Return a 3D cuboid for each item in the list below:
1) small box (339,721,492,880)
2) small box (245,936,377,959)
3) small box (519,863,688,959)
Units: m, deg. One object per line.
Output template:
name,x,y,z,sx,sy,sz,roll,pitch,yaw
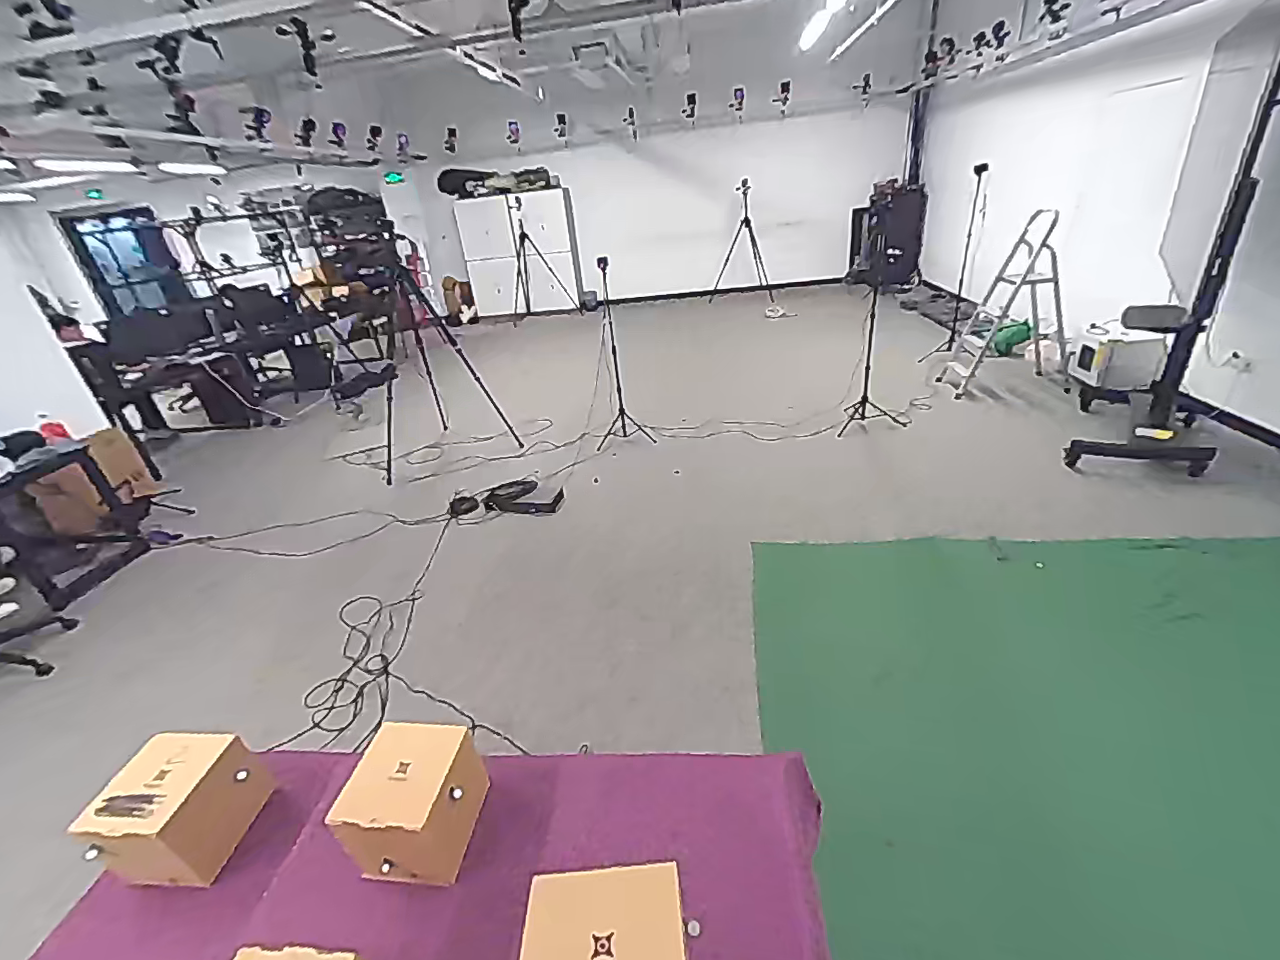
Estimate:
small box,-0.376,0.554,0.946,0.168,0.176,0.179,-2,31,11
small box,-0.426,0.713,0.665,0.168,0.176,0.179,-4,27,10
small box,-0.031,0.549,0.565,0.168,0.176,0.179,-7,19,2
